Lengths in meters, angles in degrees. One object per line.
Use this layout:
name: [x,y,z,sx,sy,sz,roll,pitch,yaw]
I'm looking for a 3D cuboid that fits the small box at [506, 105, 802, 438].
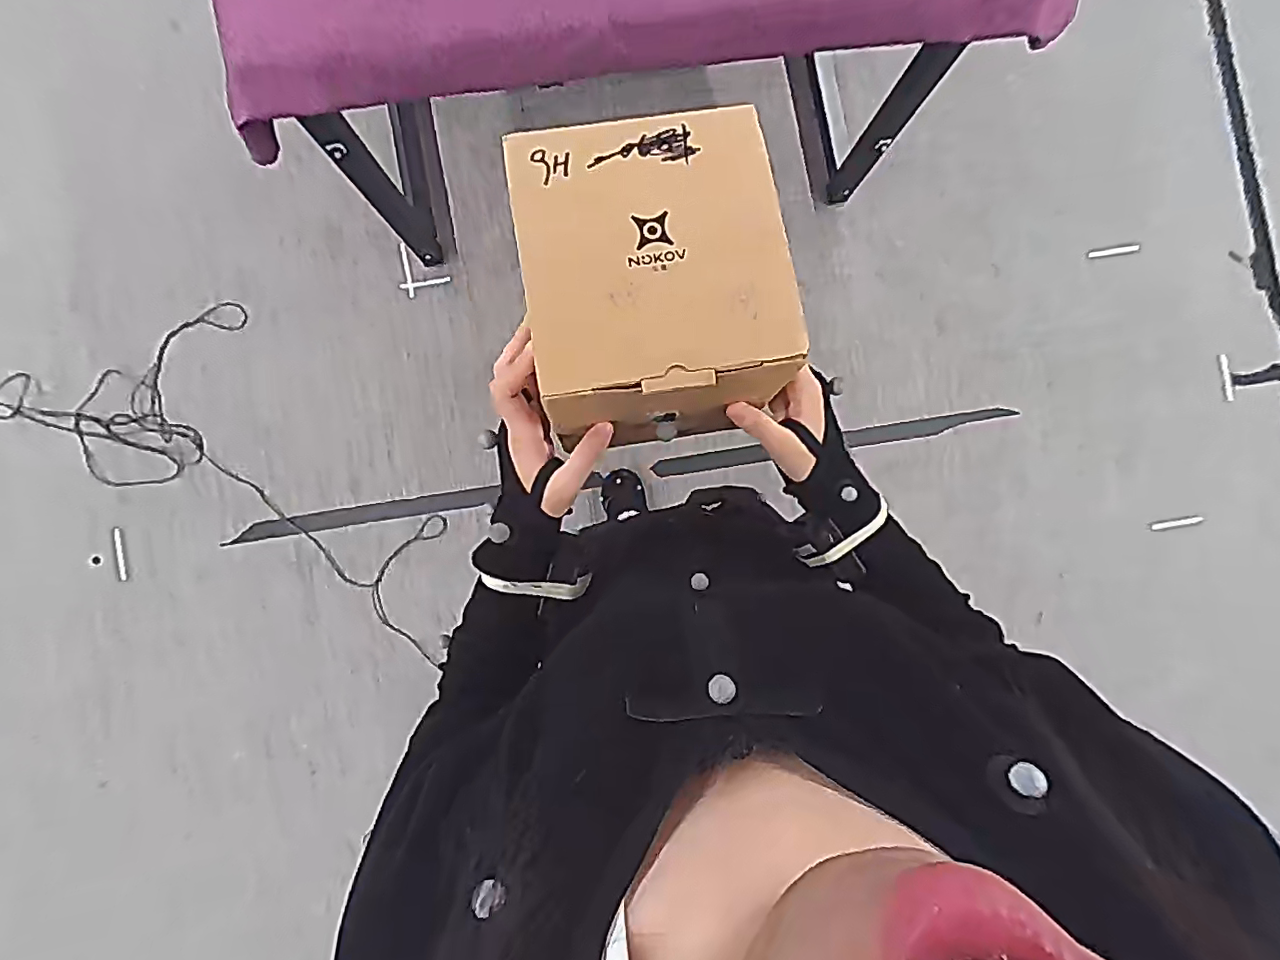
small box: [0.005,-0.136,0.414,0.168,0.176,0.179,-9,82,-4]
